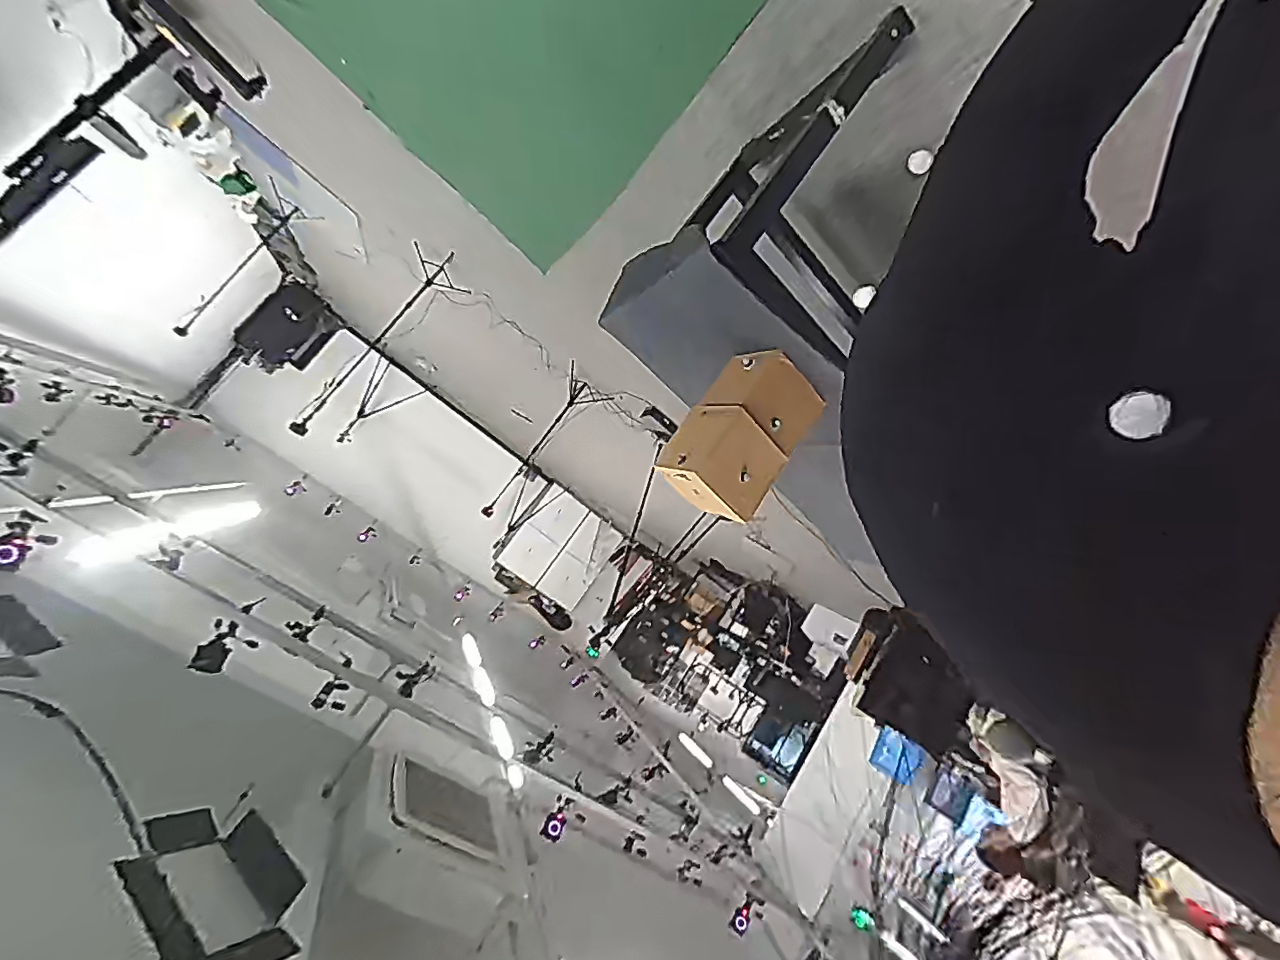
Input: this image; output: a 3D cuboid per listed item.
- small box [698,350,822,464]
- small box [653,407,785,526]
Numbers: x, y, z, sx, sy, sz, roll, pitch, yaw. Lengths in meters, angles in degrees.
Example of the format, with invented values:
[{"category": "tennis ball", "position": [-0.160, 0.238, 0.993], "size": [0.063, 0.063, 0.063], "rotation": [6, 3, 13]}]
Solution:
[{"category": "small box", "position": [0.261, -0.157, 1.181], "size": [0.179, 0.176, 0.168], "rotation": [41, 166, -24]}, {"category": "small box", "position": [0.168, -0.032, 1.126], "size": [0.179, 0.176, 0.168], "rotation": [41, 166, -27]}]
